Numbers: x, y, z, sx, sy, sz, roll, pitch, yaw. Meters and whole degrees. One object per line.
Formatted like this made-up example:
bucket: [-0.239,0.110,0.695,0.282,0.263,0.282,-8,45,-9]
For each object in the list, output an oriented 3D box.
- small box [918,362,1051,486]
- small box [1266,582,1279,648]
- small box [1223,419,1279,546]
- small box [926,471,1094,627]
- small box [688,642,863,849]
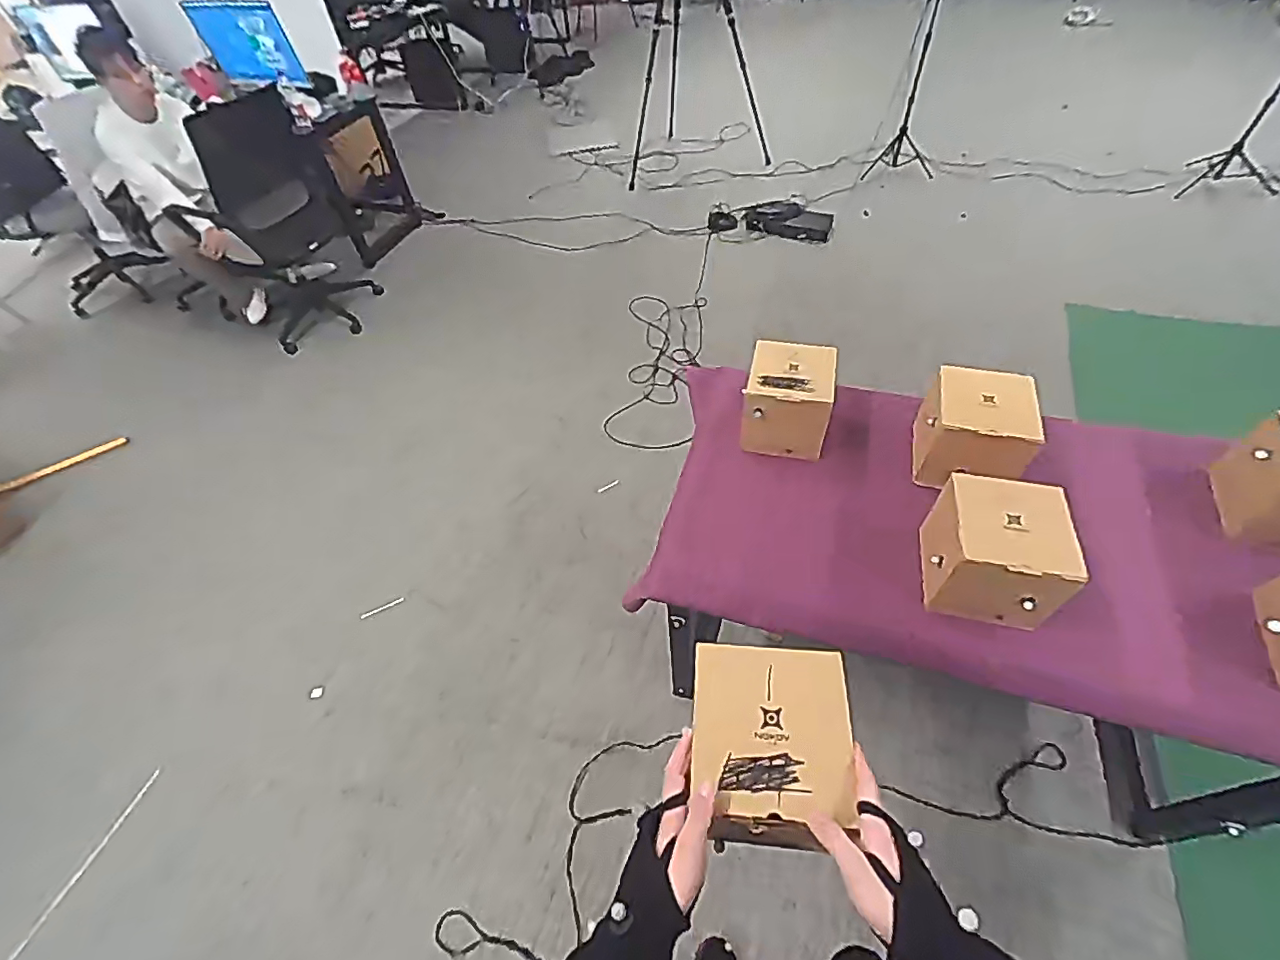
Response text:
small box: [0.650,-0.098,1.043,0.168,0.176,0.179,11,54,15]
small box: [1.041,0.210,0.742,0.168,0.176,0.179,16,53,19]
small box: [1.140,0.005,0.900,0.168,0.176,0.179,15,55,19]
small box: [0.580,0.114,0.875,0.168,0.176,0.179,9,51,13]
small box: [0.146,0.307,0.623,0.168,0.176,0.179,1,50,8]
